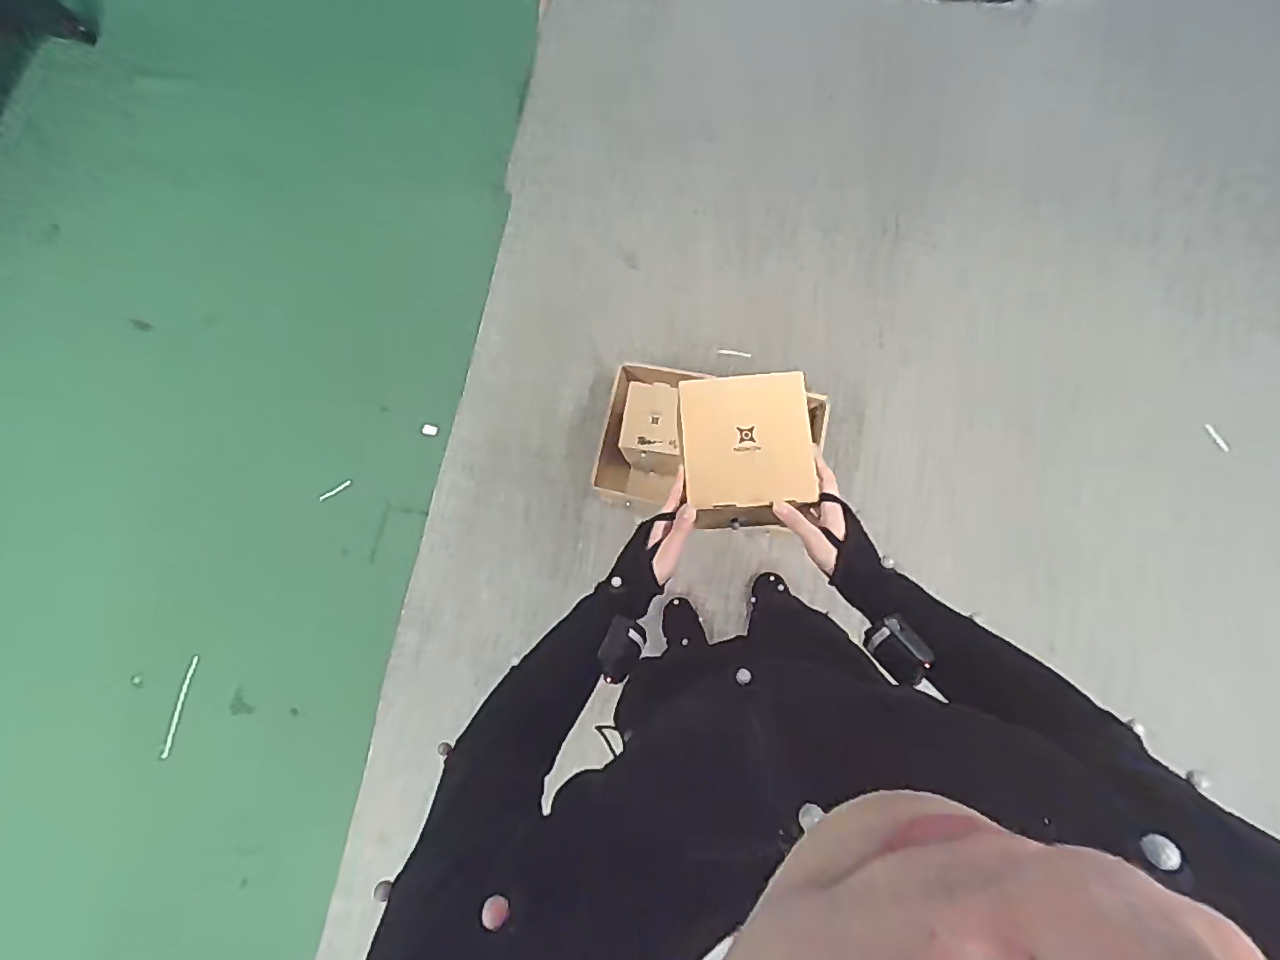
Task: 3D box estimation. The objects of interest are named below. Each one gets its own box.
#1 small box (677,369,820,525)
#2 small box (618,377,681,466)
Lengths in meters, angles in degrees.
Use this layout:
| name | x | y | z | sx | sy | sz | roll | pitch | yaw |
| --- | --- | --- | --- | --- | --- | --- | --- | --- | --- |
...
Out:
| name | x | y | z | sx | sy | sz | roll | pitch | yaw |
| --- | --- | --- | --- | --- | --- | --- | --- | --- | --- |
| small box | 0.140 | -0.038 | 0.761 | 0.168 | 0.176 | 0.179 | -4 | 78 | 2 |
| small box | 0.045 | -0.148 | 1.421 | 0.168 | 0.176 | 0.179 | 10 | 80 | 6 |
